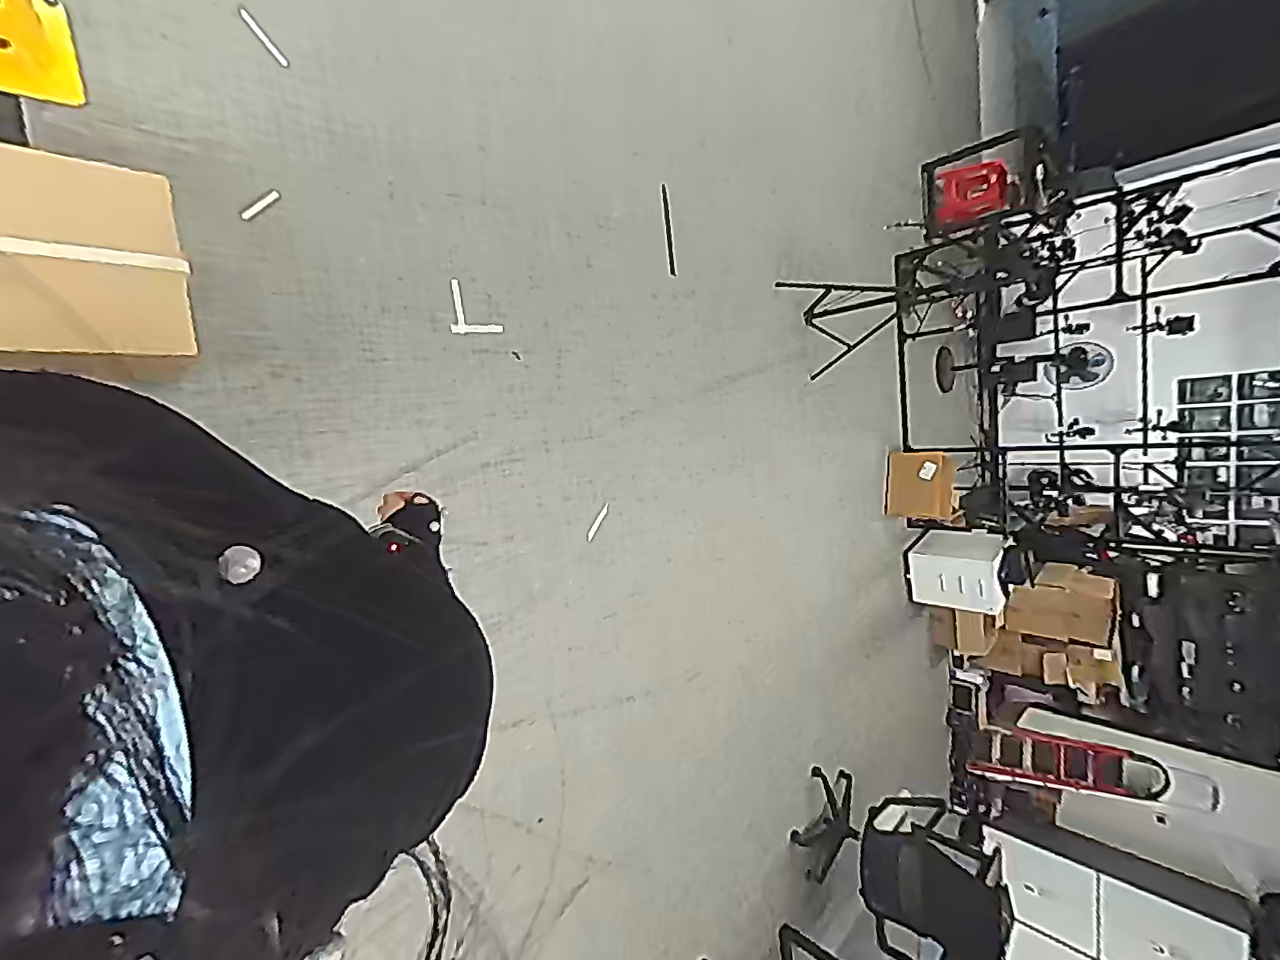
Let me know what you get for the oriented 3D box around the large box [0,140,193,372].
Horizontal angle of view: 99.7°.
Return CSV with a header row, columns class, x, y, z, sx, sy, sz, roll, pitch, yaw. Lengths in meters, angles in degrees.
class,x,y,z,sx,sy,sz,roll,pitch,yaw
large box,-1.057,-0.359,0.925,0.408,0.320,0.320,-10,95,-43
